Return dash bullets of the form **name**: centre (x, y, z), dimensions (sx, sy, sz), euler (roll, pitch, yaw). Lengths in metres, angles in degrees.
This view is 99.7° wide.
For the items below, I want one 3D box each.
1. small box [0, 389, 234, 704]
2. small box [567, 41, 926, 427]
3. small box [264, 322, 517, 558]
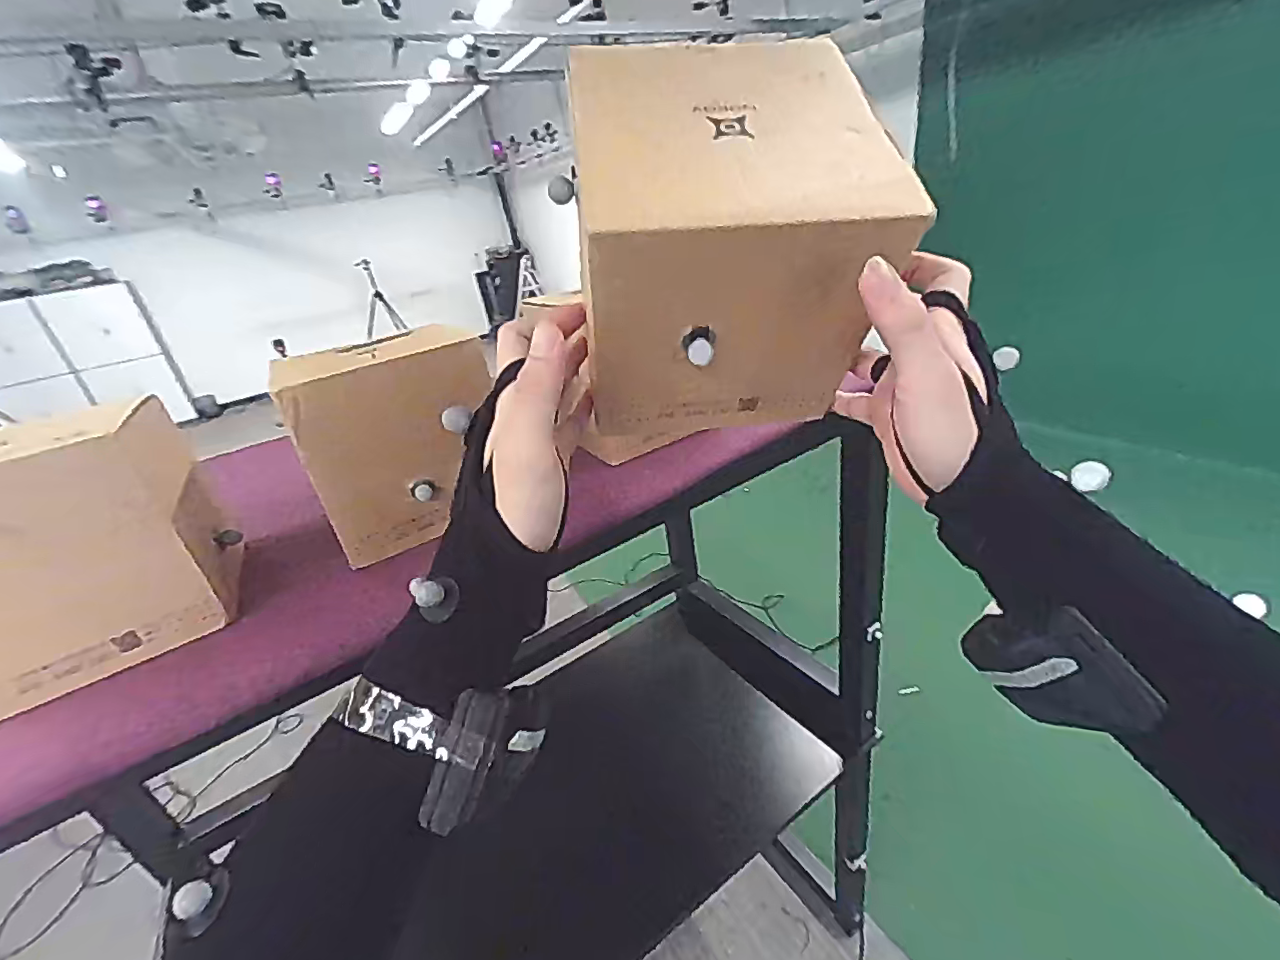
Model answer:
- **small box**: centre (-0.450, 0.041, 0.421), dimensions (0.168, 0.176, 0.179), euler (-24, 28, -26)
- **small box**: centre (0.044, -0.147, 0.356), dimensions (0.168, 0.176, 0.179), euler (-5, 60, -4)
- **small box**: centre (-0.241, -0.049, 0.534), dimensions (0.168, 0.176, 0.179), euler (-23, 30, -25)
